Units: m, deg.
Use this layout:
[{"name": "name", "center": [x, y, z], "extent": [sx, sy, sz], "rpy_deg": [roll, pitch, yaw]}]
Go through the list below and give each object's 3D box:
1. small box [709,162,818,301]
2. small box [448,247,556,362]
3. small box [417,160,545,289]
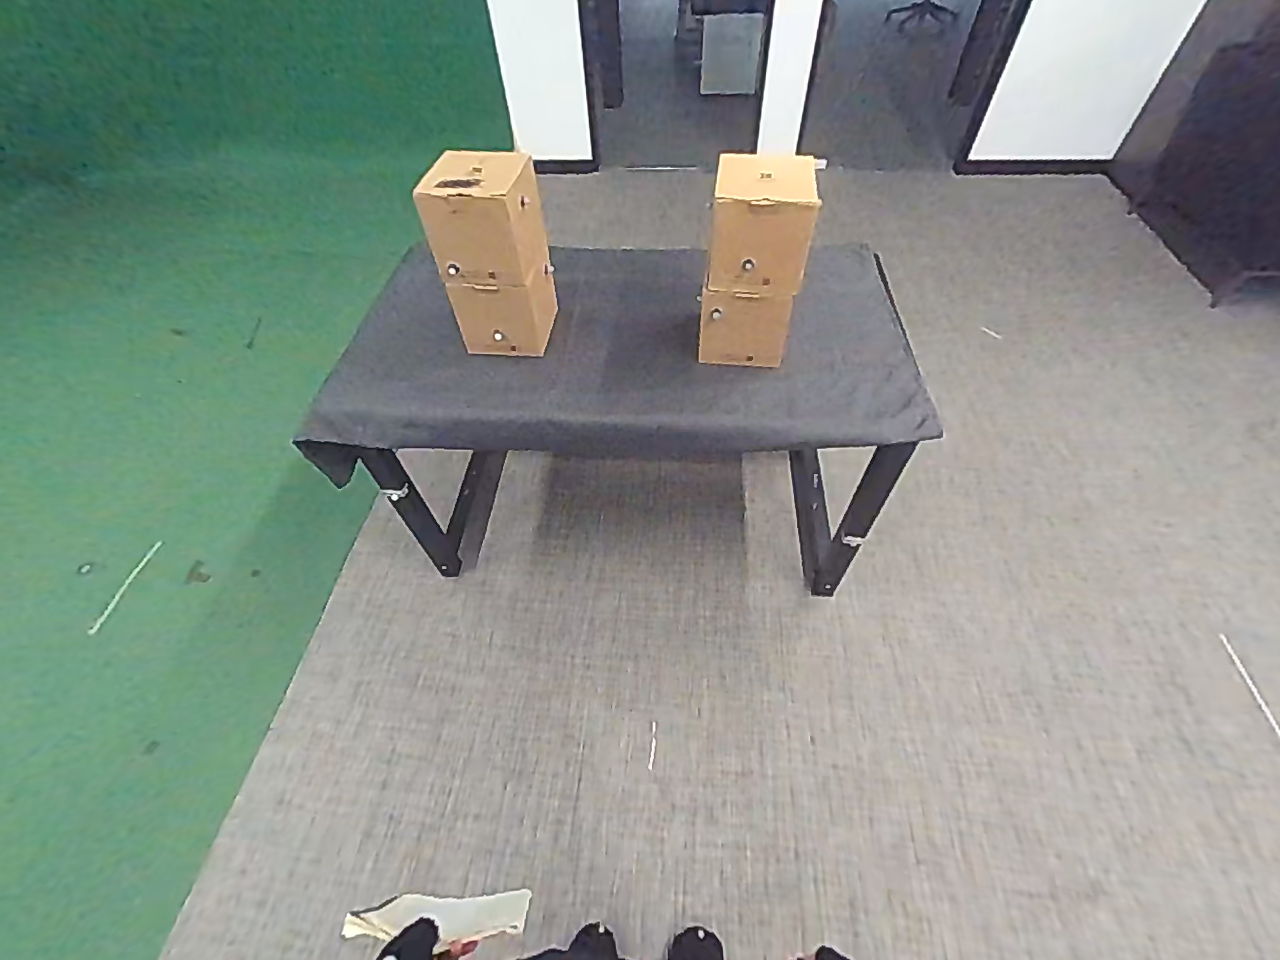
[{"name": "small box", "center": [0.216, -0.450, 0.980], "extent": [0.168, 0.176, 0.179], "rpy_deg": [5, 52, 6]}, {"name": "small box", "center": [-0.279, -0.374, 1.144], "extent": [0.168, 0.176, 0.179], "rpy_deg": [3, 52, 5]}, {"name": "small box", "center": [-0.285, -0.479, 1.018], "extent": [0.168, 0.176, 0.179], "rpy_deg": [5, 51, 5]}]
